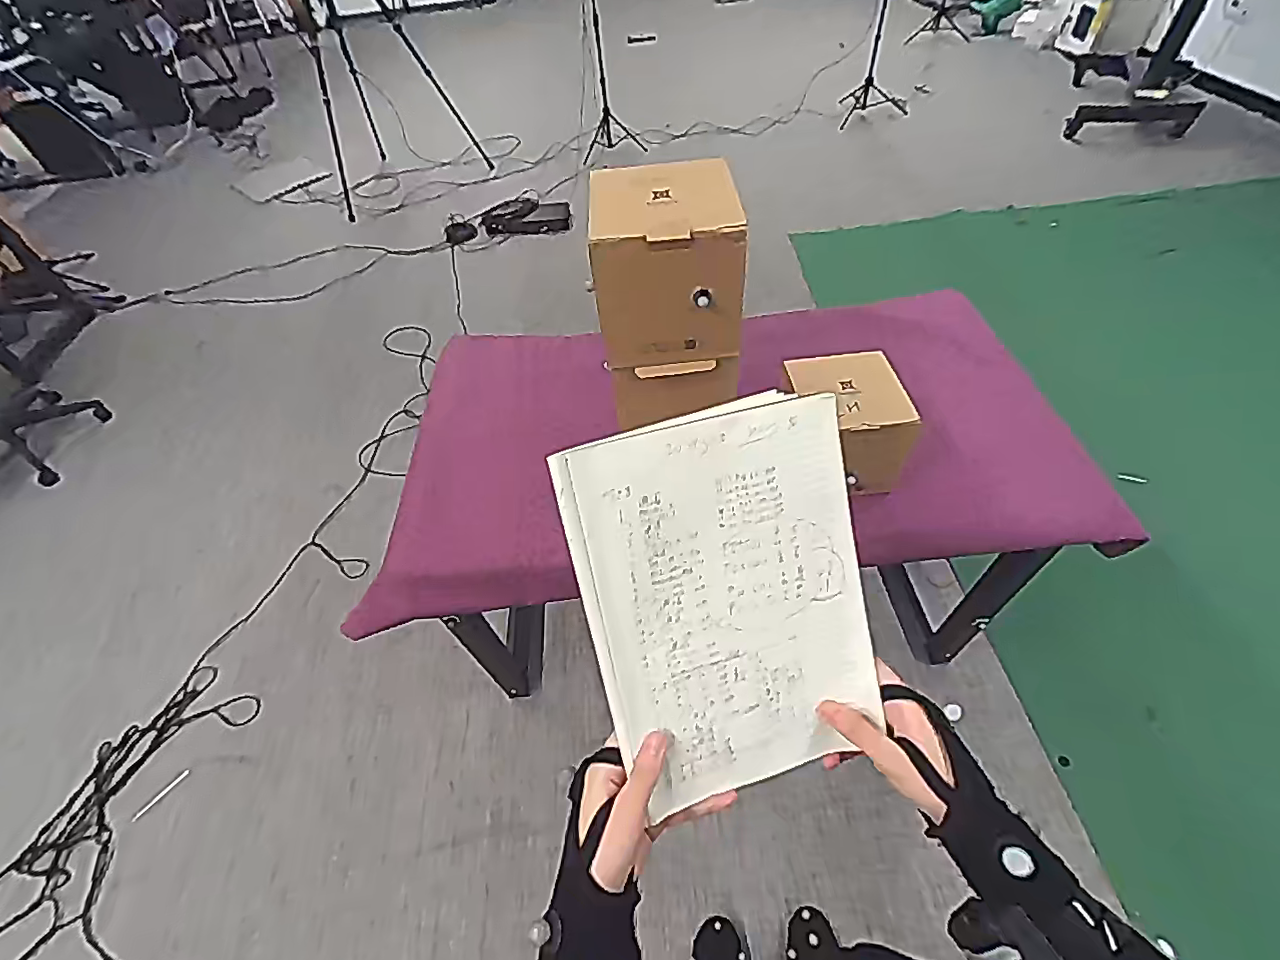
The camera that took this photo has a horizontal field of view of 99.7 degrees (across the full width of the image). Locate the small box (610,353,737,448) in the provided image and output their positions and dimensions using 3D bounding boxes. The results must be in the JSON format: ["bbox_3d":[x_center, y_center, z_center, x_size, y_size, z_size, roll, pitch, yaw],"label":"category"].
[{"bbox_3d":[0.048,-0.159,0.799,0.168,0.176,0.179,-5,50,2],"label":"small box"}]

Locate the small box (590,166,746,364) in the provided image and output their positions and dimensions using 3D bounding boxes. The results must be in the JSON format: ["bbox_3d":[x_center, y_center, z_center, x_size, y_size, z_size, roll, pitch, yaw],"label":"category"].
[{"bbox_3d":[0.035,-0.258,0.670,0.168,0.176,0.179,-4,50,2],"label":"small box"}]

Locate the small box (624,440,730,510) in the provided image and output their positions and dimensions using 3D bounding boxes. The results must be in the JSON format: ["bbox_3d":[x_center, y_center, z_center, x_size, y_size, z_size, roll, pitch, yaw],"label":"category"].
[{"bbox_3d":[0.062,-0.061,0.930,0.168,0.176,0.179,-5,51,2],"label":"small box"}]
